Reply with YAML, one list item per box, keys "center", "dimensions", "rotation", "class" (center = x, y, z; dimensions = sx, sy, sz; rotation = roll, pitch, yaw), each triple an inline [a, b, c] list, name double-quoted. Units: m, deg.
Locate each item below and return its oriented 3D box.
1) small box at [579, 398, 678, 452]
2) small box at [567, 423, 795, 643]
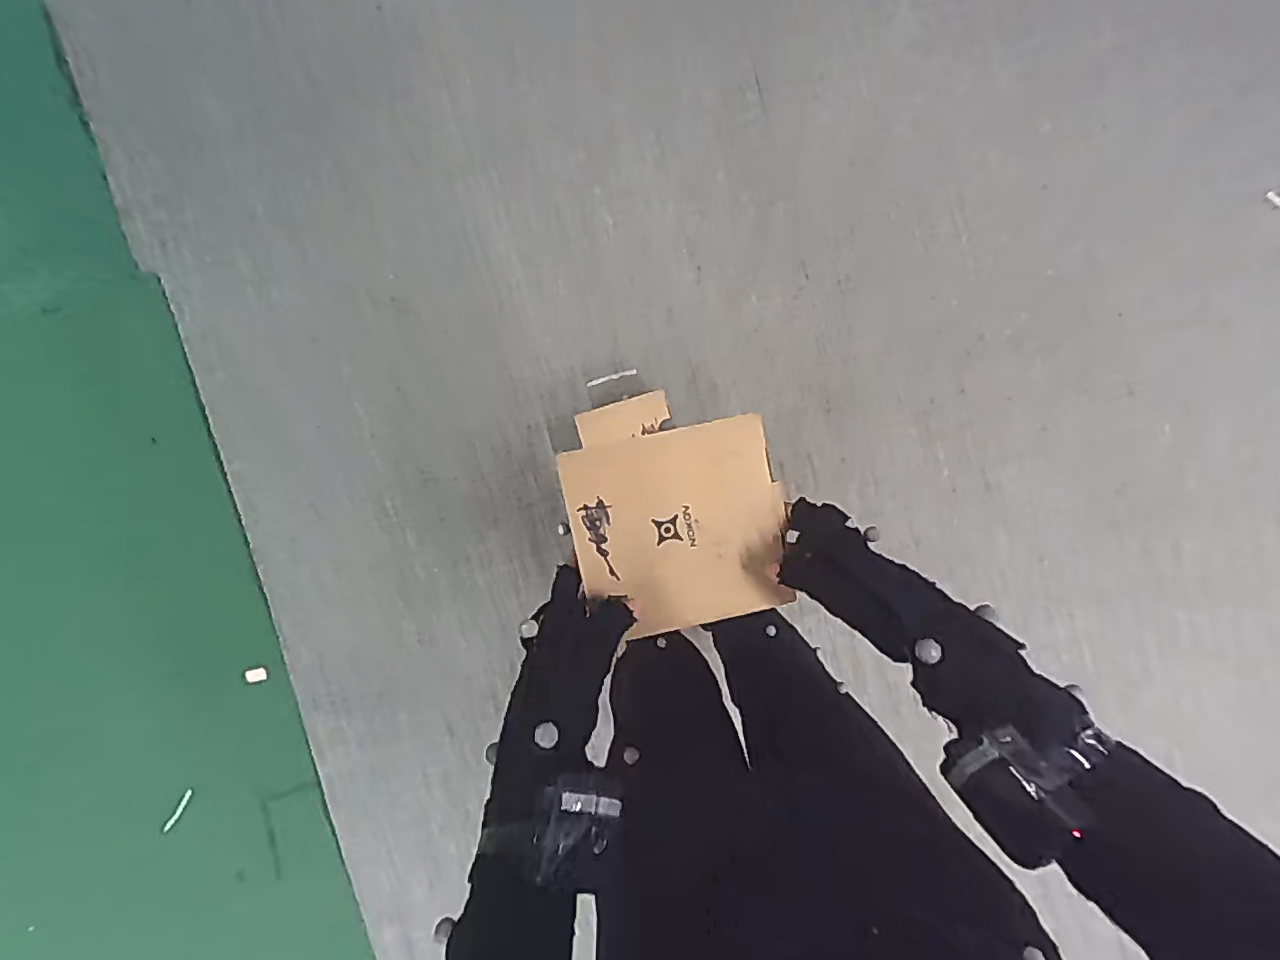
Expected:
- center: [-0.008, -0.059, 1.087]
  dimensions: [0.179, 0.176, 0.168]
  rotation: [-16, 92, 4]
  class: "small box"
- center: [0.031, 0.042, 0.541]
  dimensions: [0.179, 0.176, 0.168]
  rotation: [-11, 92, -3]
  class: "small box"
